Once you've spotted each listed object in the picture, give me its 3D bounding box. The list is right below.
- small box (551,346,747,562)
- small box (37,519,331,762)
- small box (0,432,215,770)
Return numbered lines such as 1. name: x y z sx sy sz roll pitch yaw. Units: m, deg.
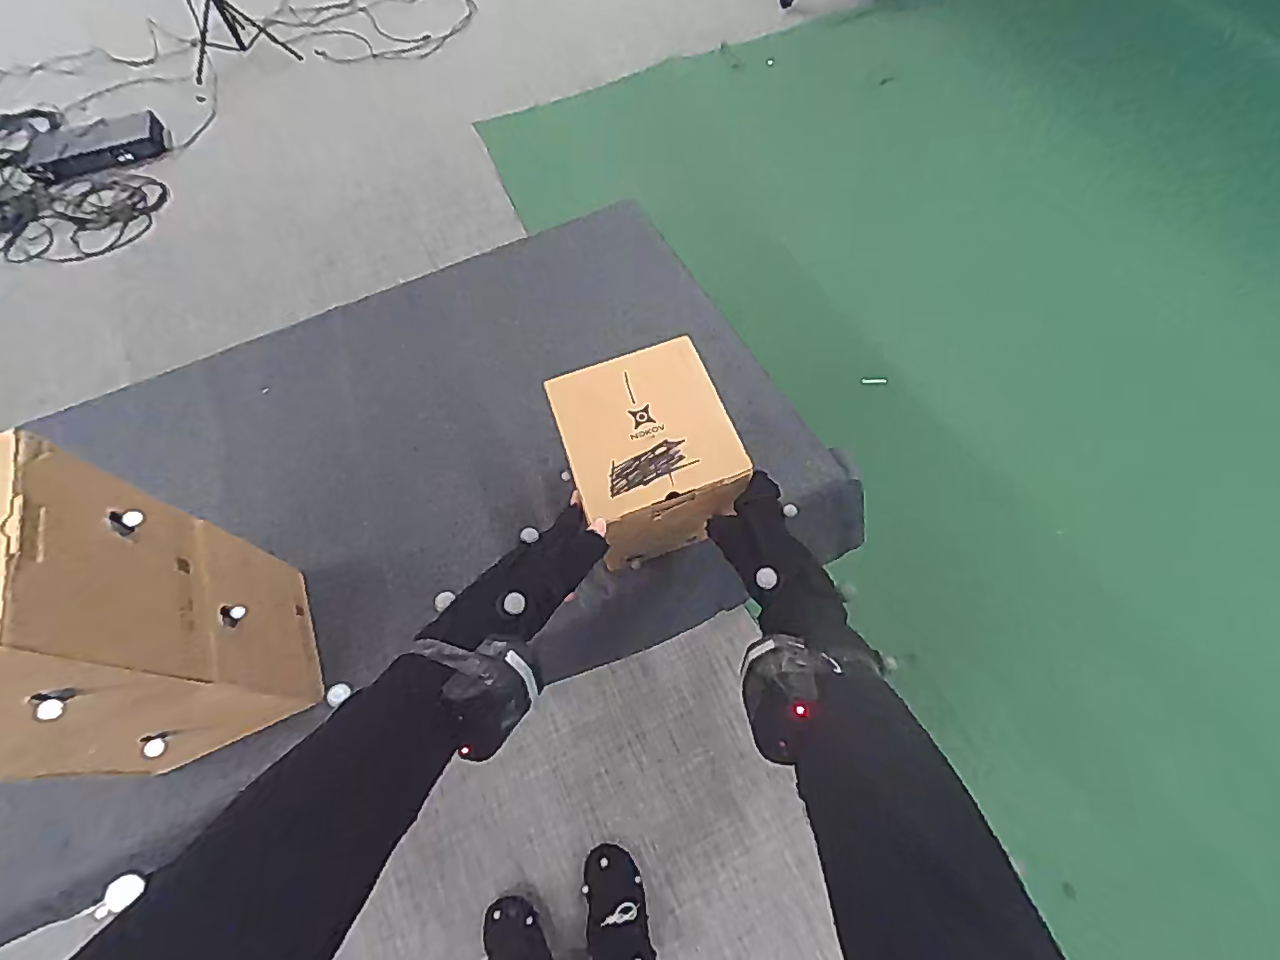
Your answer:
1. small box: 0.011 -0.018 0.628 0.168 0.176 0.179 -18 64 -4
2. small box: -0.457 0.172 0.553 0.179 0.176 0.168 -23 64 -9
3. small box: -0.461 0.099 0.407 0.179 0.176 0.168 -24 63 -9
